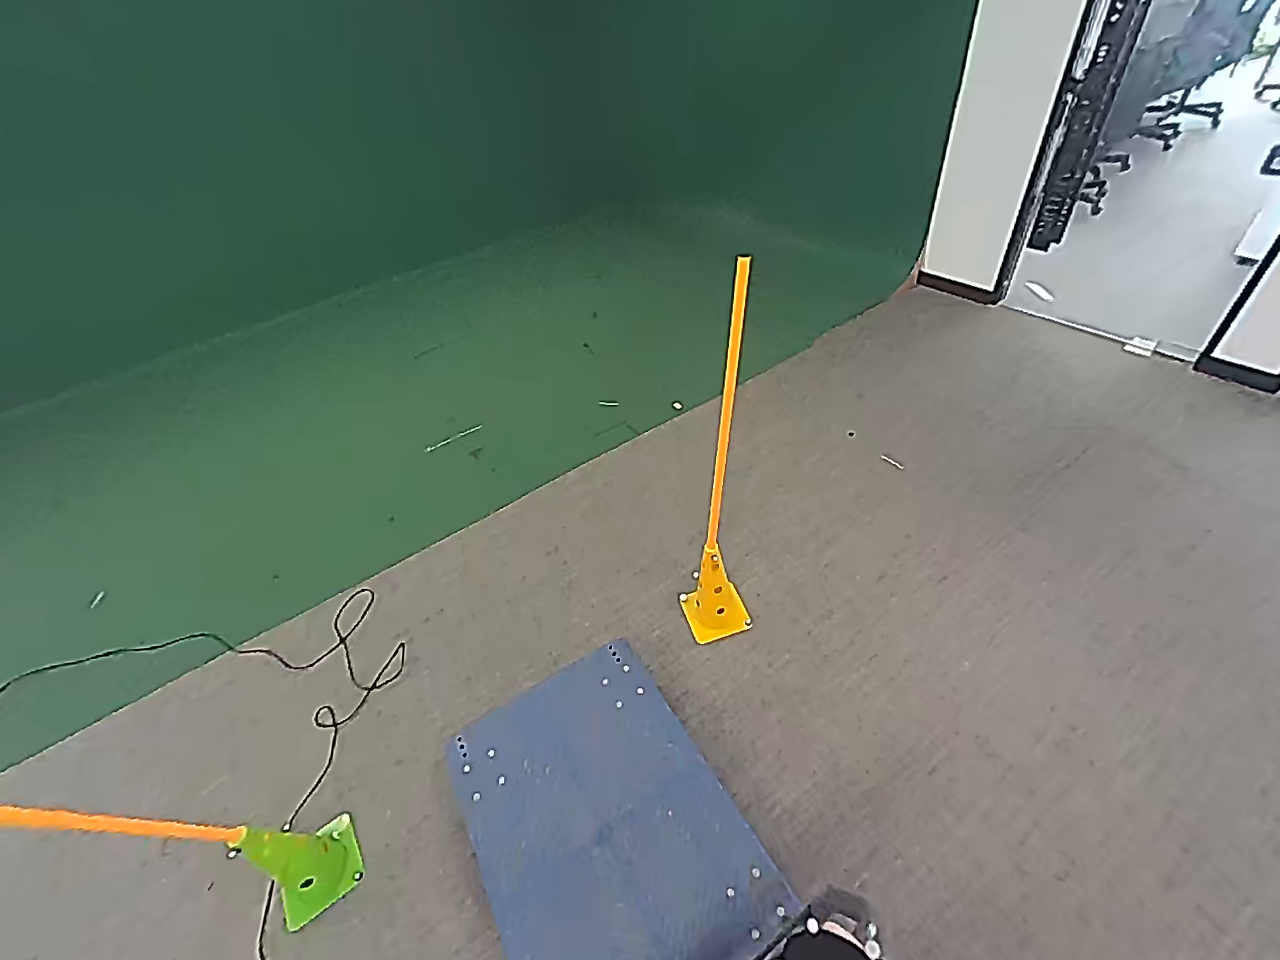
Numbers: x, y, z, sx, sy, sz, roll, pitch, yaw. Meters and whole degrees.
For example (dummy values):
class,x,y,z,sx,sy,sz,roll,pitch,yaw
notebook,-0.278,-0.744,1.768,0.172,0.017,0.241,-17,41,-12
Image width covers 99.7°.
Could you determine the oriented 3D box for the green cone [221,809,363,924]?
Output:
class,x,y,z,sx,sy,sz,roll,pitch,yaw
green cone,-0.893,0.917,1.345,0.202,0.368,0.200,-33,47,-20
